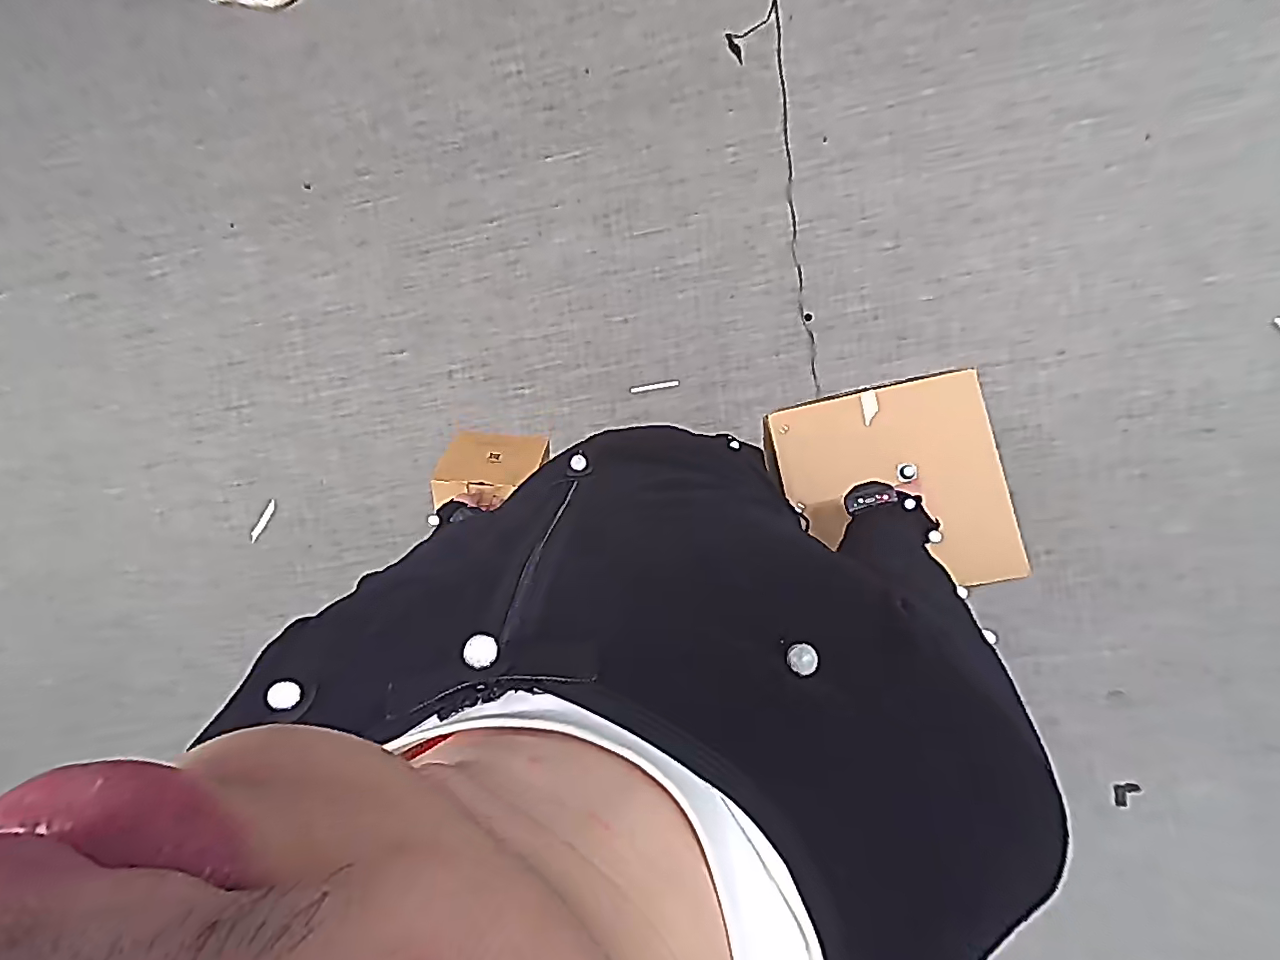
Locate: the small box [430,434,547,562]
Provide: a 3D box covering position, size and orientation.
[{"bbox_3d":[-0.266,0.033,0.997,0.168,0.179,0.176,5,122,-1],"label":"small box"}]
